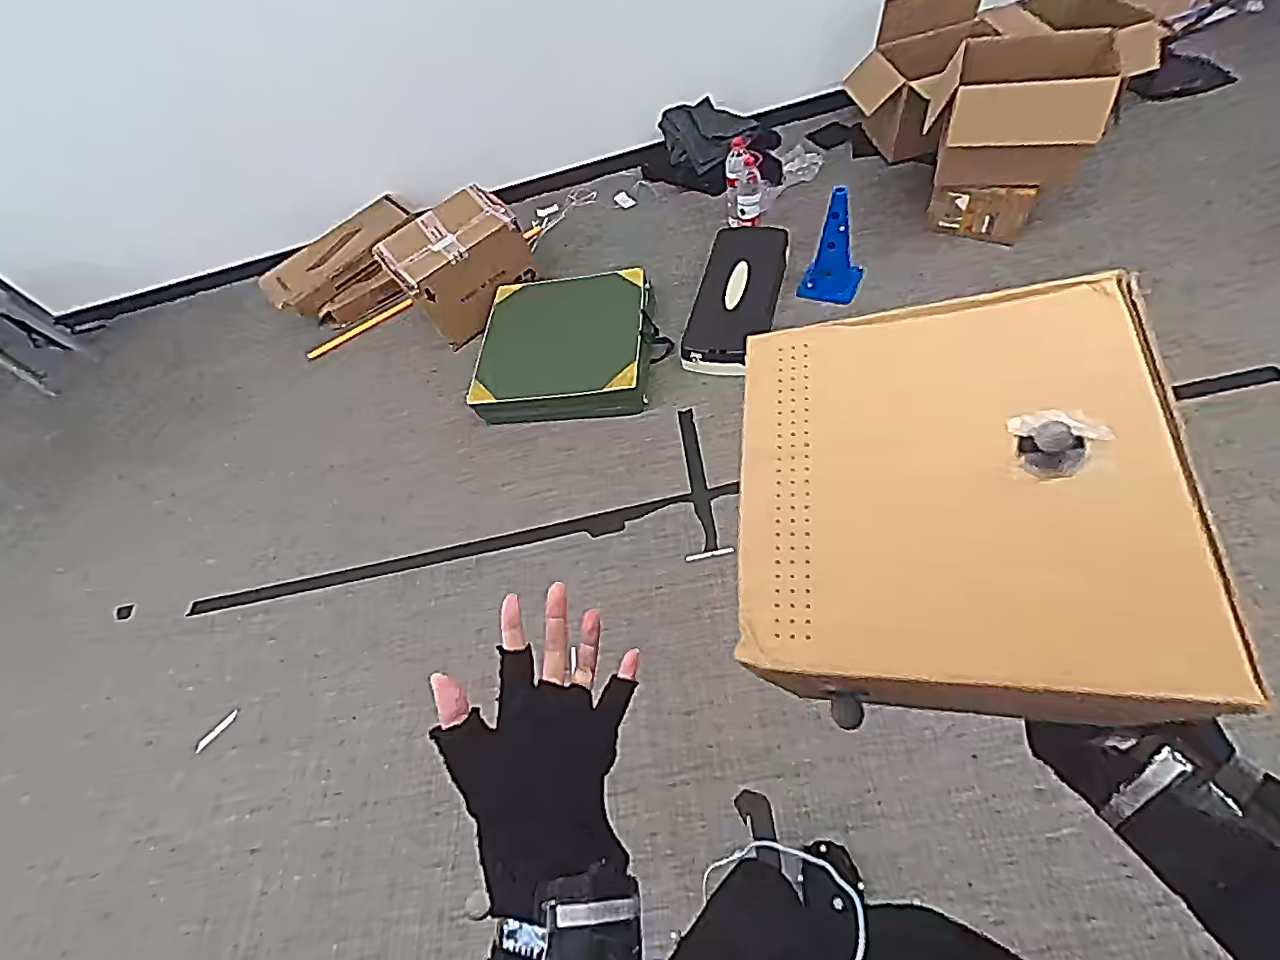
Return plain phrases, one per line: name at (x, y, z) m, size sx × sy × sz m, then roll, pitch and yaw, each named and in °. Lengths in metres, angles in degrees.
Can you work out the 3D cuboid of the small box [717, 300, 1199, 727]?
small box at (0.147, 0.034, 0.307) m, size 0.176 × 0.168 × 0.179 m, roll -5°, pitch 63°, yaw 26°
